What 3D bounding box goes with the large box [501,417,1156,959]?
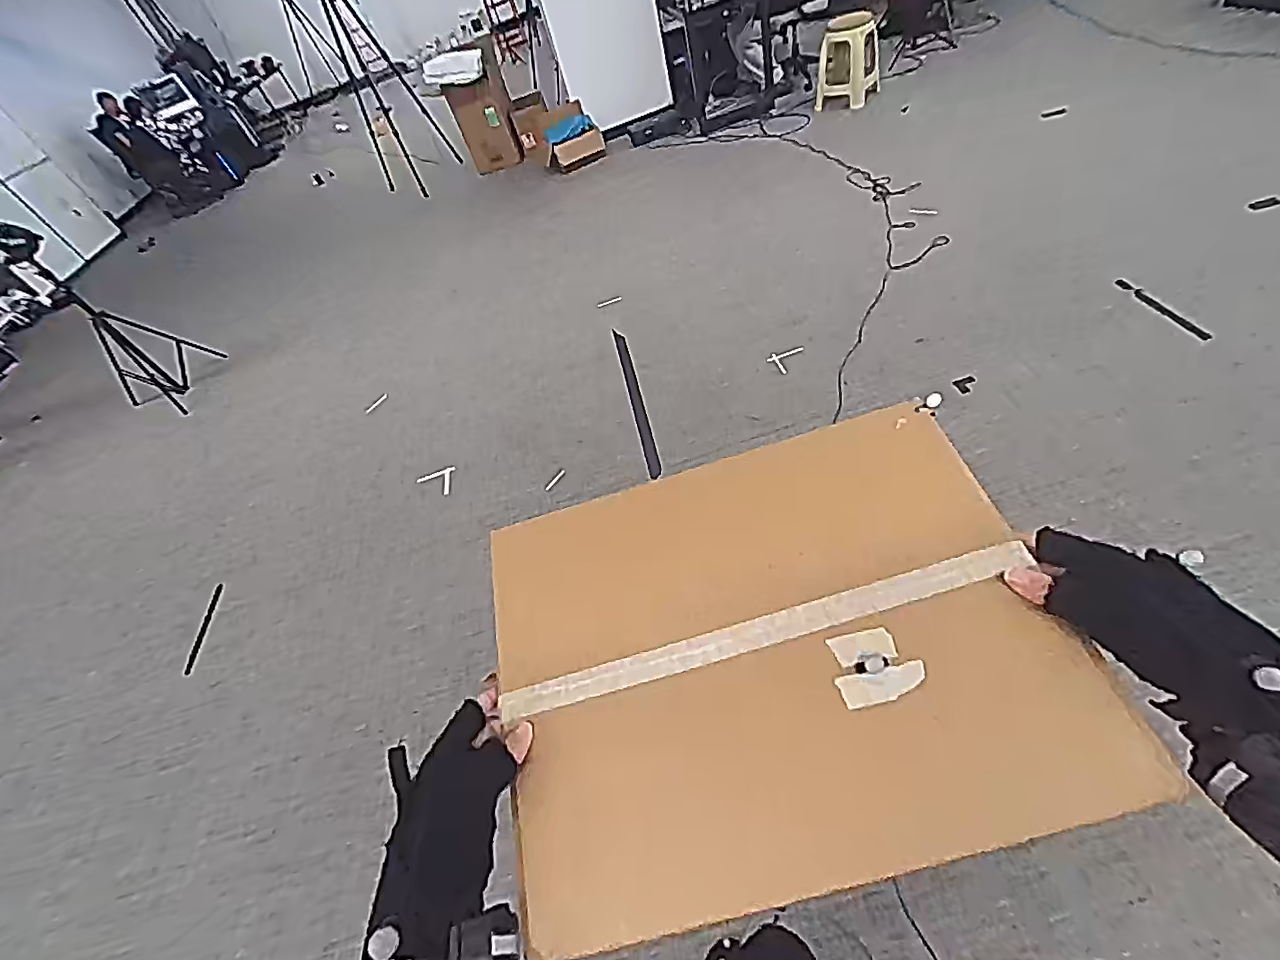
[{"bbox_3d":[0.121,0.202,0.539,0.408,0.320,0.320,-18,57,2],"label":"large box"}]
